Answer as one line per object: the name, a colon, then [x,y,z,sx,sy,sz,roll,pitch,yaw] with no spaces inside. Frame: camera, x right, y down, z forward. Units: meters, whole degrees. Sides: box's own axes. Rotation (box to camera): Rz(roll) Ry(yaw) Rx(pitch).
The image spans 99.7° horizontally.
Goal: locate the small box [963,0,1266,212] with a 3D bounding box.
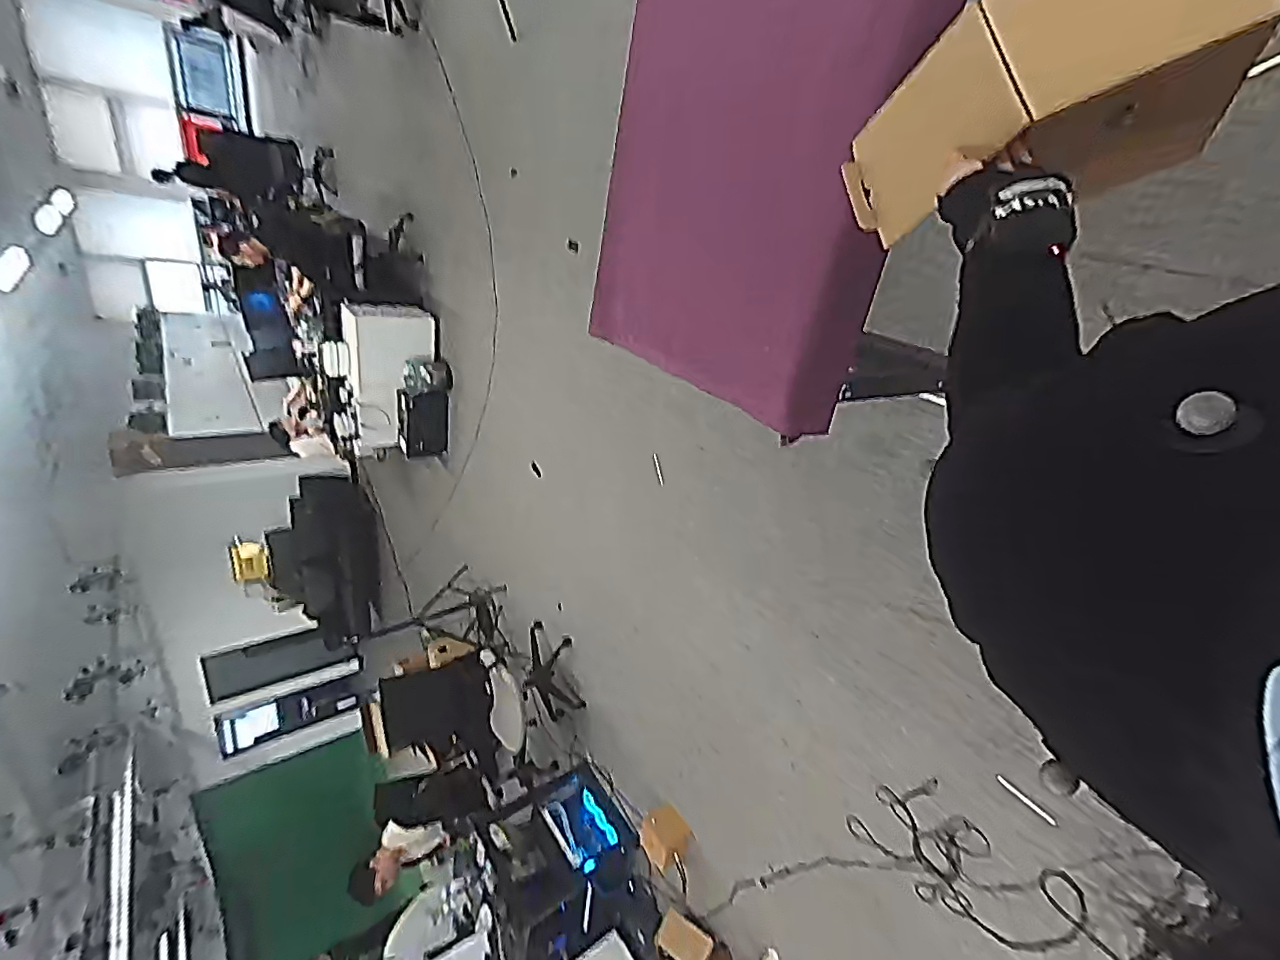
small box: [0.444,-0.412,0.542,0.179,0.176,0.168,-16,72,26]
